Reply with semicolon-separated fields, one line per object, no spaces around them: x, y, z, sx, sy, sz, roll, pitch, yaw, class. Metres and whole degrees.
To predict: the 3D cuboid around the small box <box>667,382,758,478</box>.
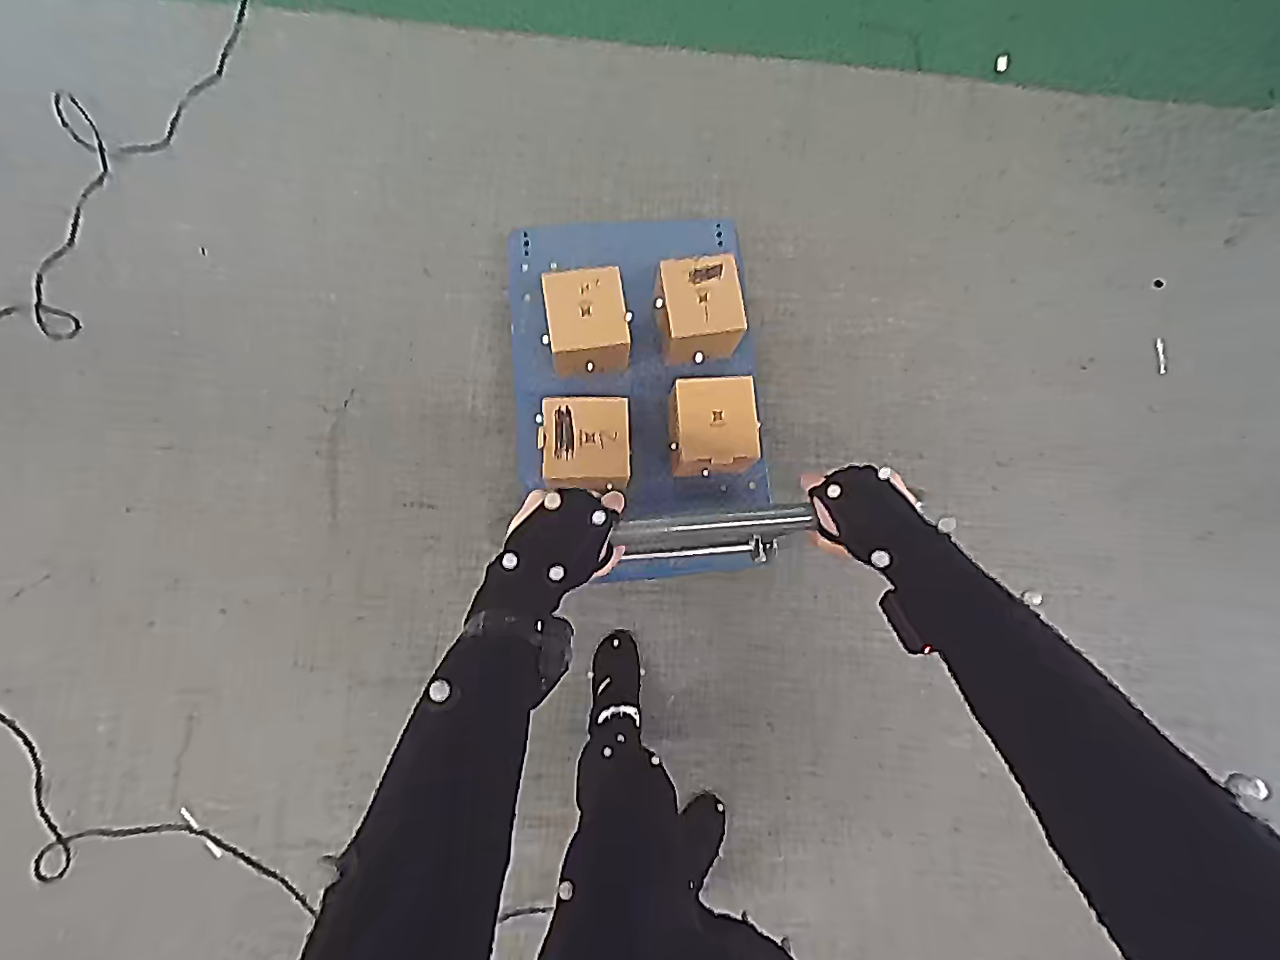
0.154;-0.108;1.209;0.168;0.176;0.179;-4;81;-5;small box

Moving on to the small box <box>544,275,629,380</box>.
-0.119;-0.337;1.228;0.168;0.176;0.179;-8;81;-6;small box

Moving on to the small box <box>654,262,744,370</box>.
0.129;-0.374;1.250;0.168;0.176;0.179;-8;82;-4;small box
